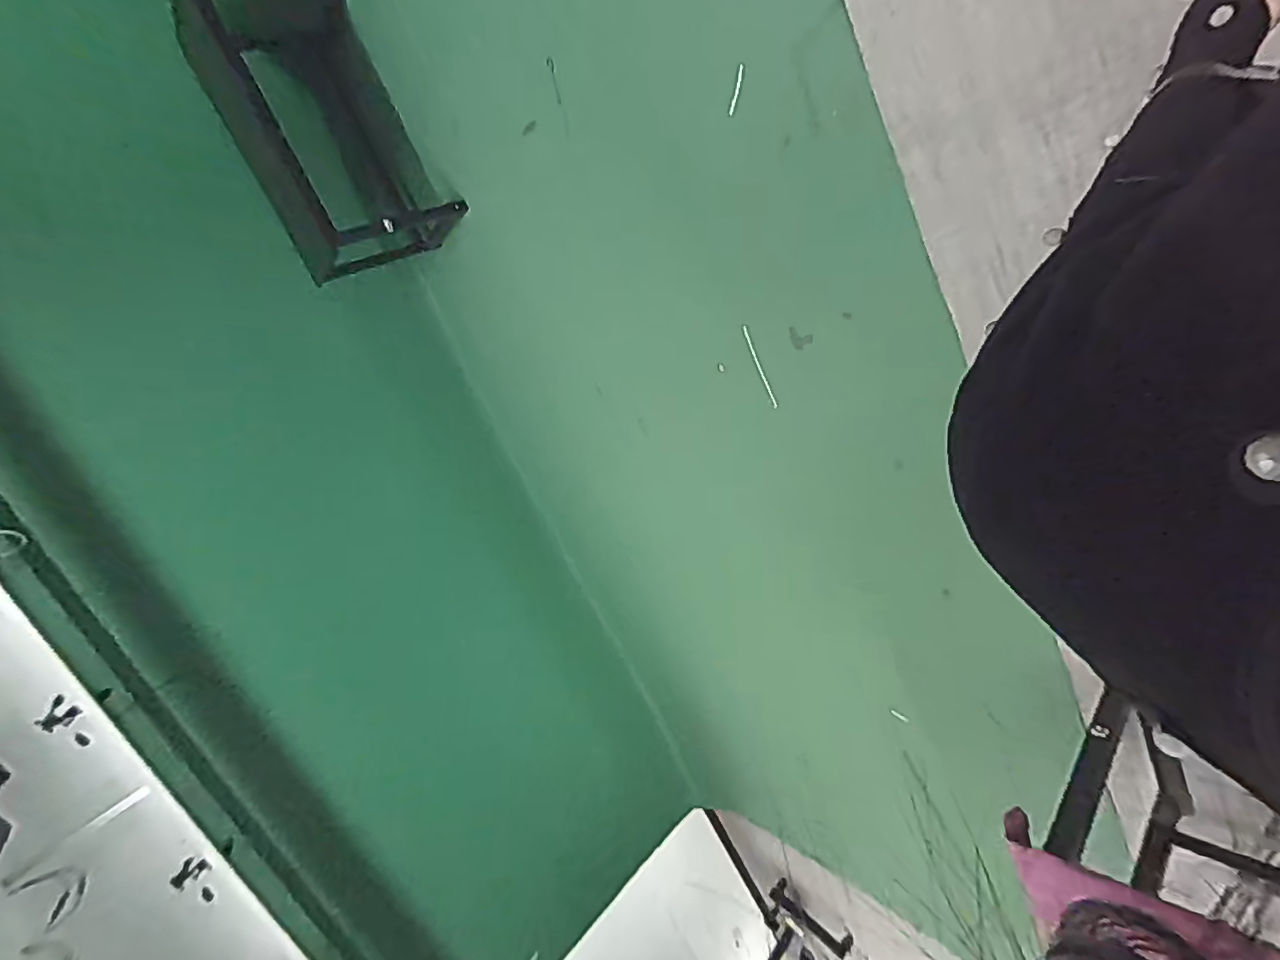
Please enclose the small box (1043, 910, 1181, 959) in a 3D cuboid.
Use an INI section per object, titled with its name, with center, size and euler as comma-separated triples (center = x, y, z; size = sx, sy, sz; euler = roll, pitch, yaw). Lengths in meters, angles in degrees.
[small box]
center = 0.887, 0.956, 1.000
size = 0.179, 0.176, 0.168
euler = -12, 109, 57
